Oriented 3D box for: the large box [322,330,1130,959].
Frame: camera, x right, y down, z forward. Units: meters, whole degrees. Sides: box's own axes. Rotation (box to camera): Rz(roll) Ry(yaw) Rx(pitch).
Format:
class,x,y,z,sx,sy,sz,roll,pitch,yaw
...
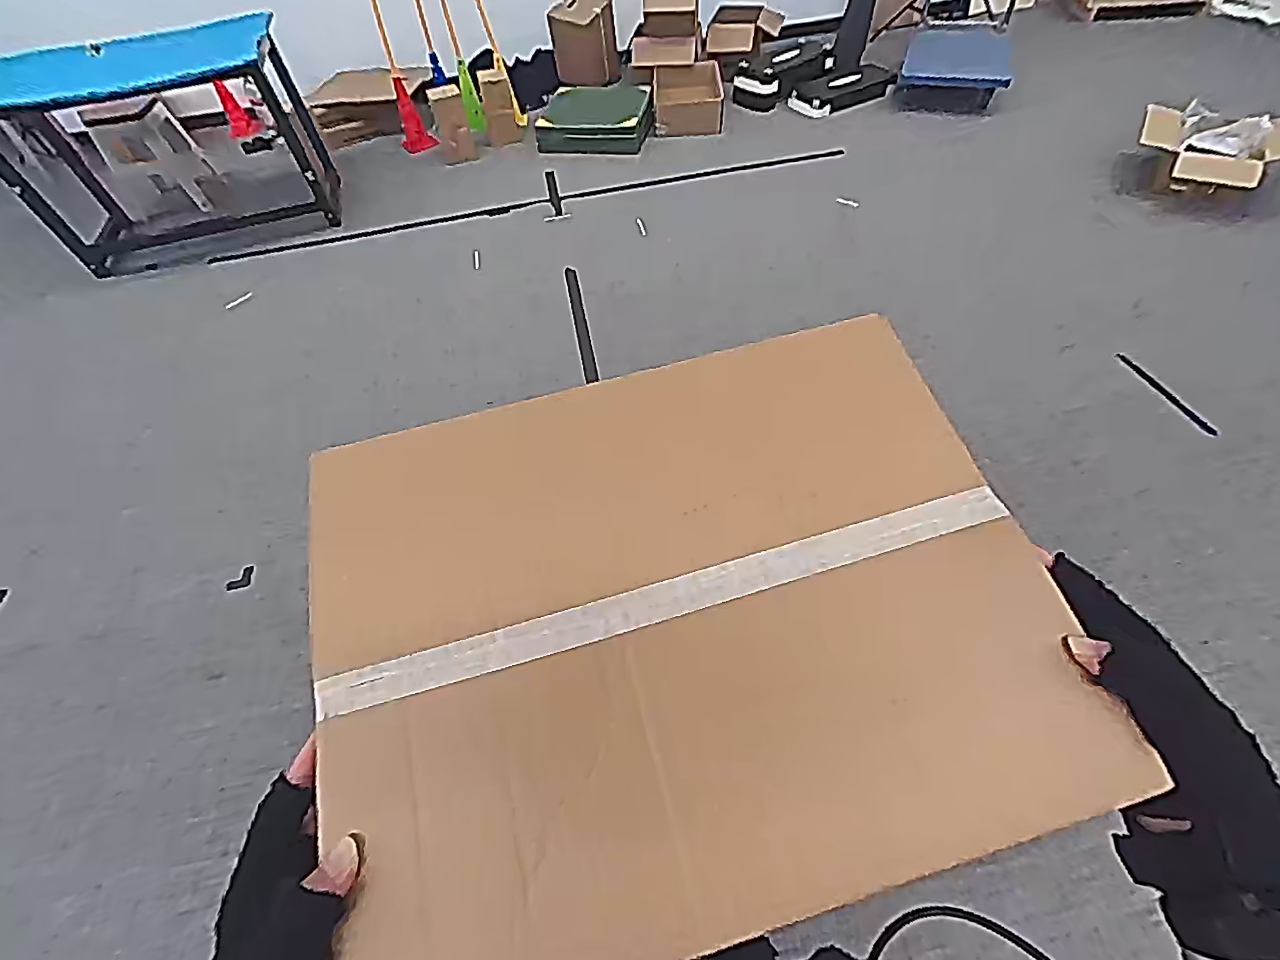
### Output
class,x,y,z,sx,sy,sz,roll,pitch,yaw
large box,0.027,0.136,0.451,0.408,0.320,0.320,-16,65,-5
